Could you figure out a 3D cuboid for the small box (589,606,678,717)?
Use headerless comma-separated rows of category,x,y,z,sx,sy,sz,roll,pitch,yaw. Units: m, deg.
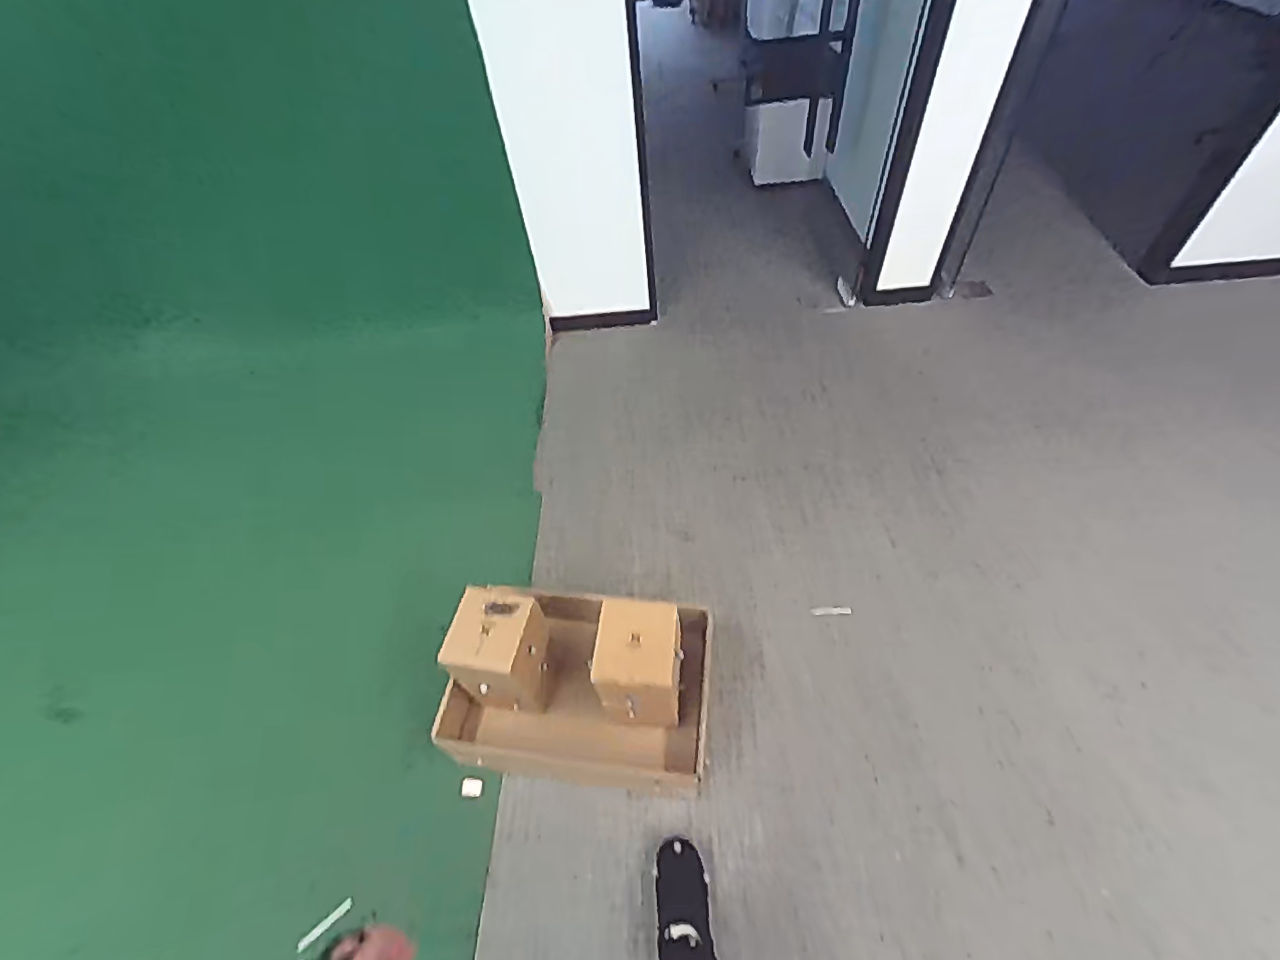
small box,-0.005,0.396,1.177,0.168,0.176,0.179,2,53,8

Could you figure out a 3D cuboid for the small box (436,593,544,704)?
small box,-0.326,0.382,1.223,0.168,0.176,0.179,7,53,10
